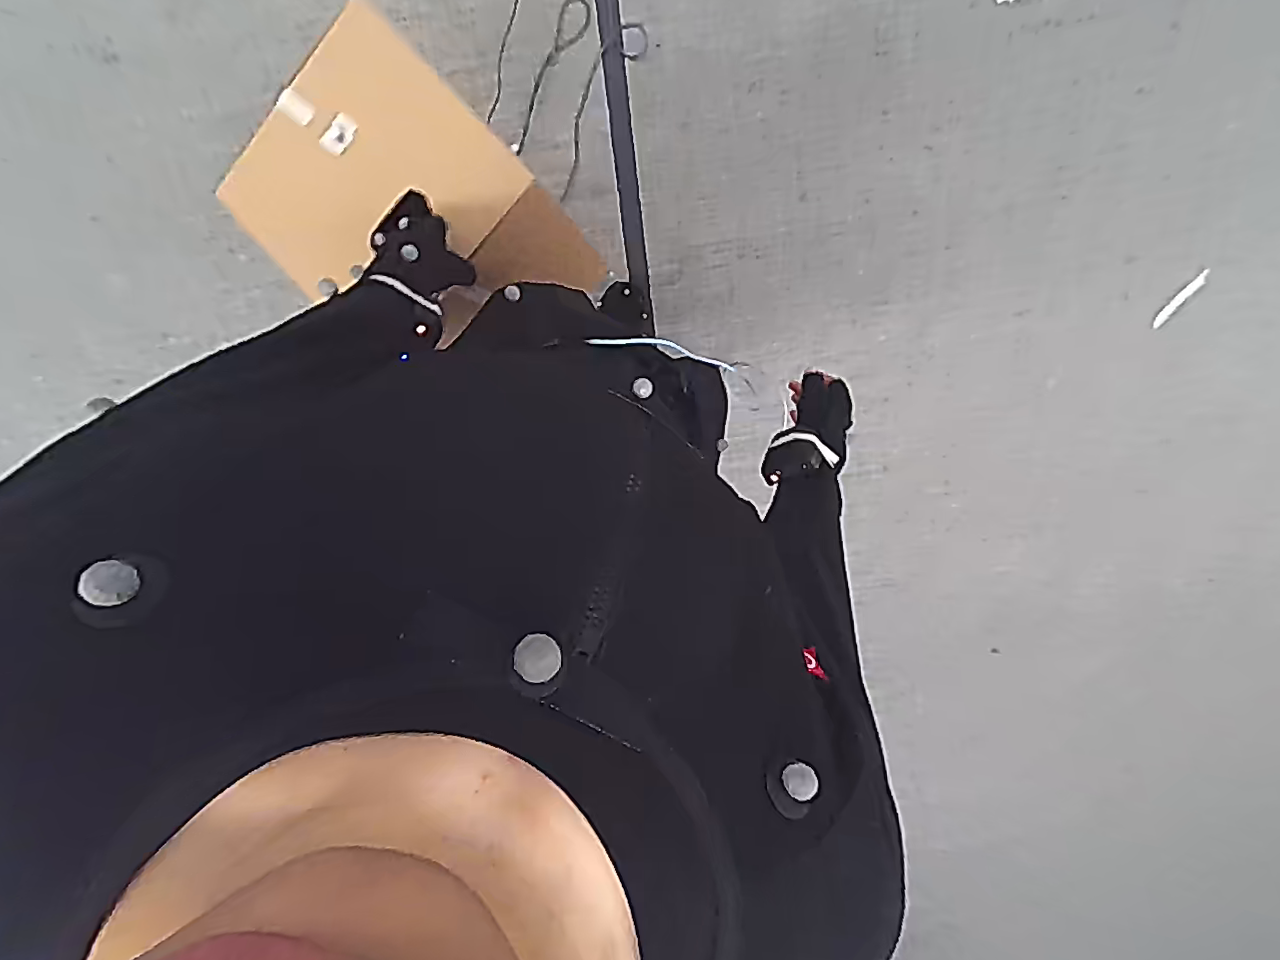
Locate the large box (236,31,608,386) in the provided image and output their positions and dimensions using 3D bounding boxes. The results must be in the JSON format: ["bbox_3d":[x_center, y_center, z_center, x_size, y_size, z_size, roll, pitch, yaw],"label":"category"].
[{"bbox_3d":[-0.305,-0.371,0.870,0.320,0.408,0.320,45,103,1],"label":"large box"}]
